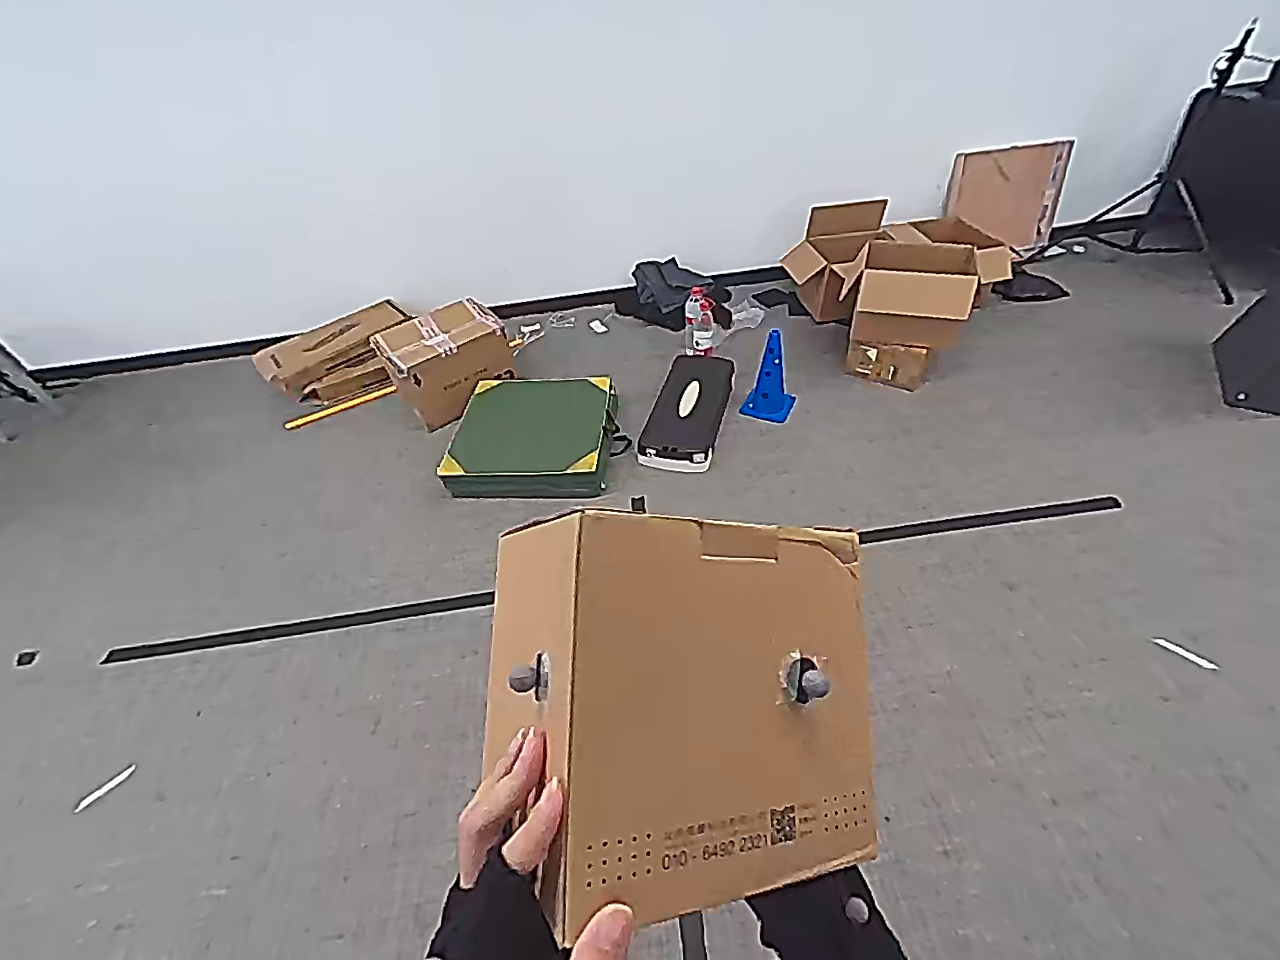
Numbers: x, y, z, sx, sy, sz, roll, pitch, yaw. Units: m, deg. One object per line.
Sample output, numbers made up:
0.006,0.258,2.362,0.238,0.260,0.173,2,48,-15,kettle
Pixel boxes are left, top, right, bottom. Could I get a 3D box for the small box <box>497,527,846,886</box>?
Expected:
0.009,0.124,0.343,0.168,0.179,0.176,6,78,-24,small box
